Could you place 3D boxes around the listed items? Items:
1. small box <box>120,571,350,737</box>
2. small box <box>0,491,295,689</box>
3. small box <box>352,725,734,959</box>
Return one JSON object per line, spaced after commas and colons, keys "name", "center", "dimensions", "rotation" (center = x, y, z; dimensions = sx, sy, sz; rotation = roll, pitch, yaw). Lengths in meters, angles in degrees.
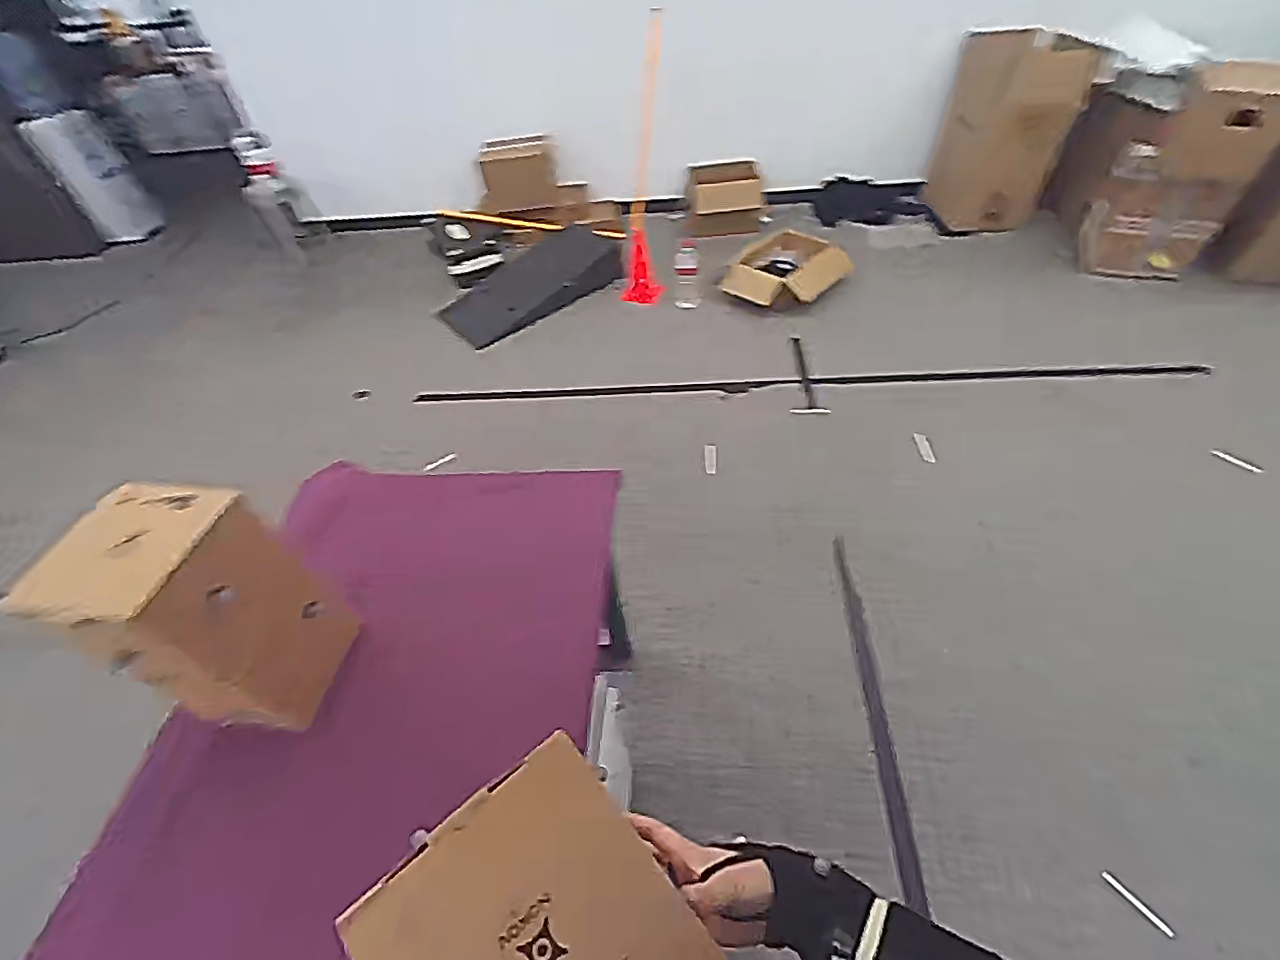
{"name": "small box", "center": [-0.554, 0.244, 0.776], "dimensions": [0.168, 0.176, 0.179], "rotation": [2, 48, 7]}
{"name": "small box", "center": [-0.567, 0.135, 0.655], "dimensions": [0.168, 0.176, 0.179], "rotation": [3, 49, 8]}
{"name": "small box", "center": [-0.069, 0.313, 0.390], "dimensions": [0.168, 0.176, 0.179], "rotation": [-33, 71, -26]}
